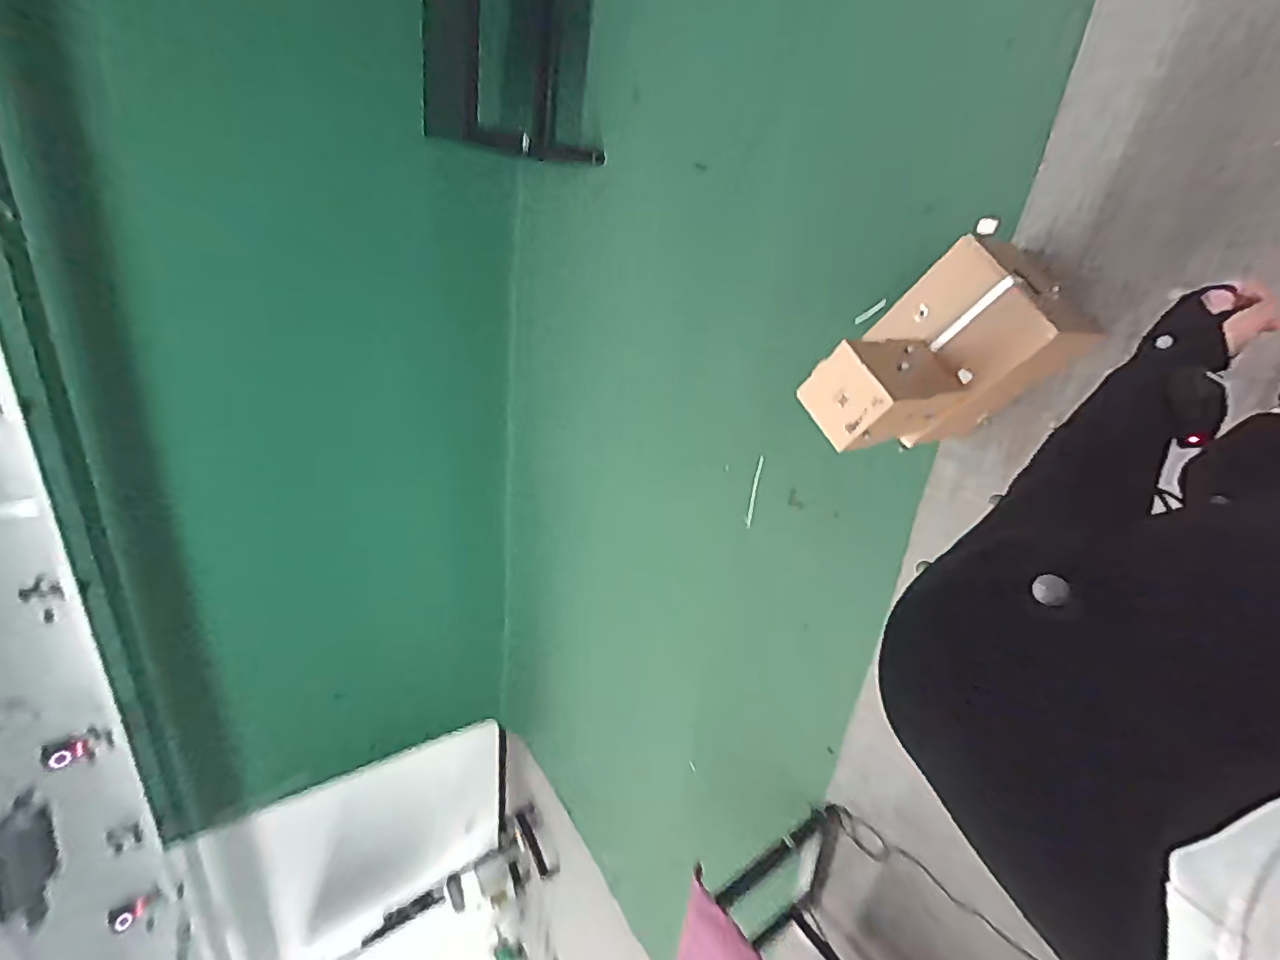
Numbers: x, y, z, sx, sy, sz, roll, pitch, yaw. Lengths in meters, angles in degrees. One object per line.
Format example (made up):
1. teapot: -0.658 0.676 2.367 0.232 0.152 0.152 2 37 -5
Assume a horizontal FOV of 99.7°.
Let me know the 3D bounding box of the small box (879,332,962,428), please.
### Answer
1. small box: 0.621 -0.233 1.295 0.179 0.176 0.168 62 141 21

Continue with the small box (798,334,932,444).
1. small box: 0.495 -0.200 1.195 0.179 0.176 0.168 62 141 22
